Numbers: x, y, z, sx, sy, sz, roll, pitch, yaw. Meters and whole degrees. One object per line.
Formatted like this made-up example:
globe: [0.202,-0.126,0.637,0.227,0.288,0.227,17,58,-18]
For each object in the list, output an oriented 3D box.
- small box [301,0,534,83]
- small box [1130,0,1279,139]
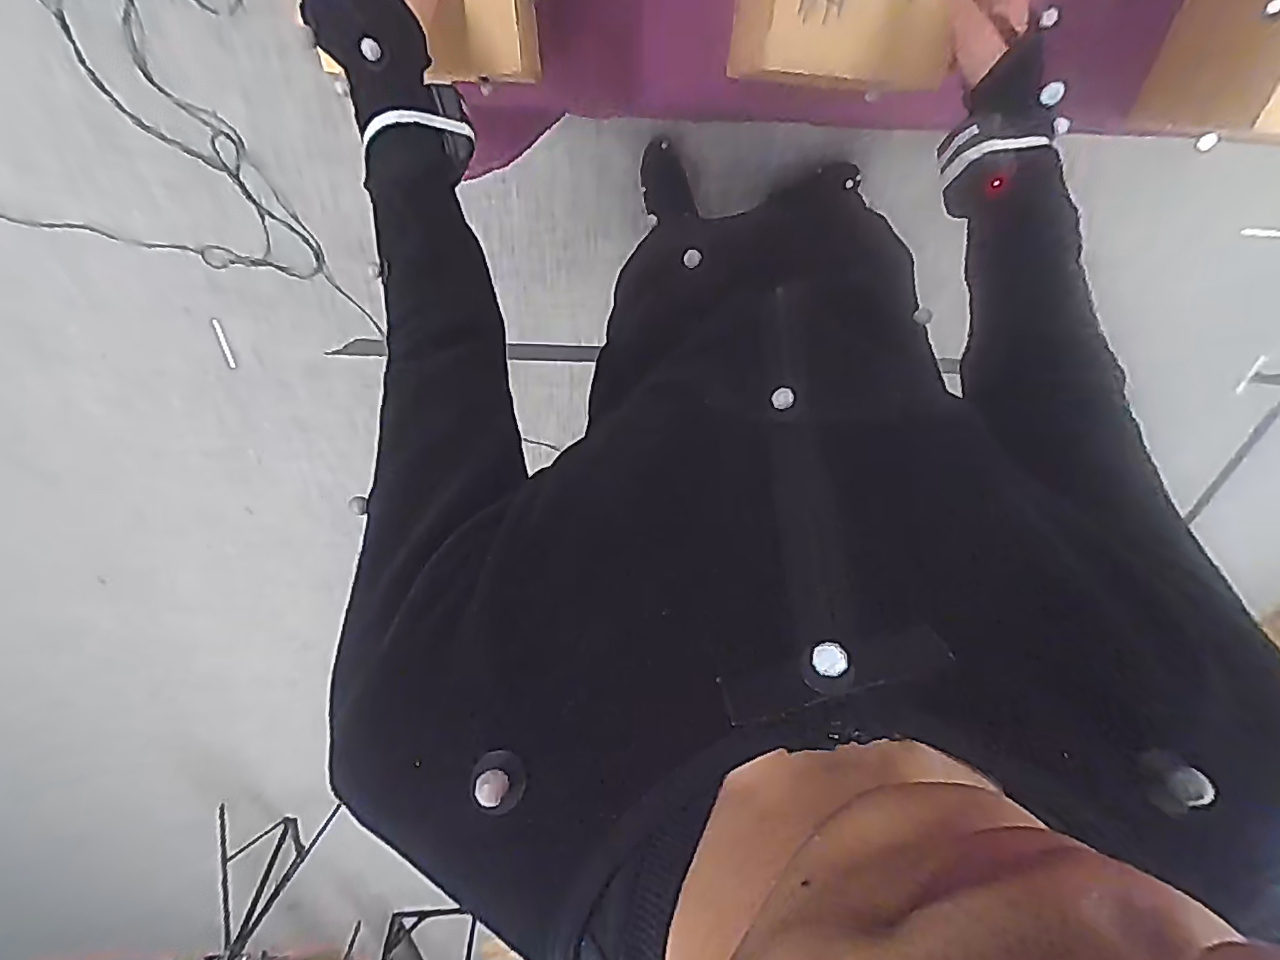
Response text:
small box: [-0.199,-0.469,0.495,0.179,0.176,0.168,-3,125,-4]
small box: [0.685,-0.465,0.563,0.168,0.176,0.179,2,125,-5]
